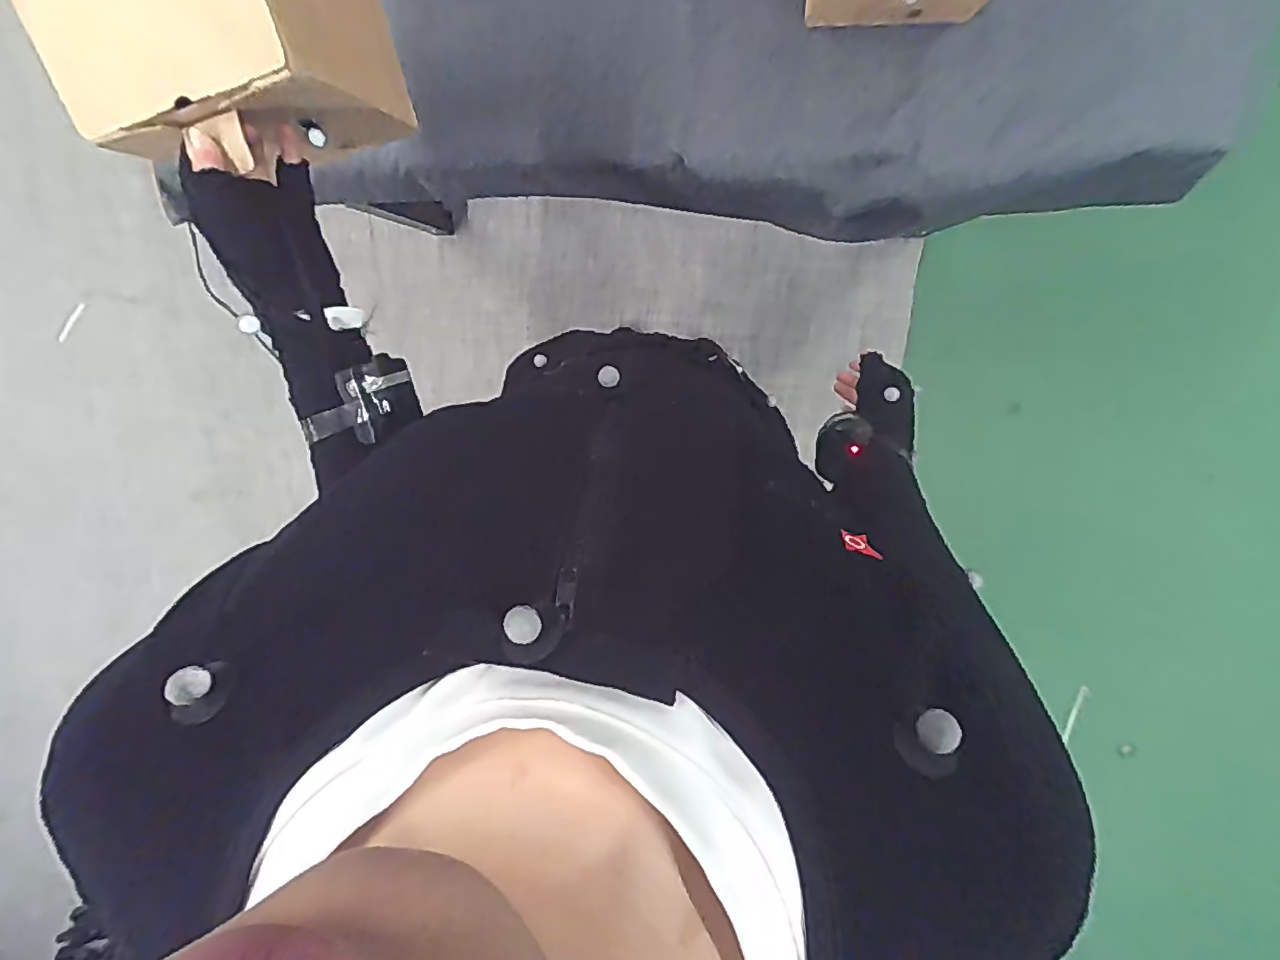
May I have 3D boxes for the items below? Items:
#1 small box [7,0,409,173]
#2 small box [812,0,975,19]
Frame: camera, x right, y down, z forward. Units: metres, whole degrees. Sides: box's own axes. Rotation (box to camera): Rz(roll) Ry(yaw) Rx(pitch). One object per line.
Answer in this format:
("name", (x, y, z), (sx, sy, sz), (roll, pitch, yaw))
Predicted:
("small box", (-0.302, -0.342, 0.391), (0.168, 0.176, 0.179), (-11, 108, 10))
("small box", (0.245, -0.527, 0.455), (0.168, 0.176, 0.179), (1, 107, 3))
